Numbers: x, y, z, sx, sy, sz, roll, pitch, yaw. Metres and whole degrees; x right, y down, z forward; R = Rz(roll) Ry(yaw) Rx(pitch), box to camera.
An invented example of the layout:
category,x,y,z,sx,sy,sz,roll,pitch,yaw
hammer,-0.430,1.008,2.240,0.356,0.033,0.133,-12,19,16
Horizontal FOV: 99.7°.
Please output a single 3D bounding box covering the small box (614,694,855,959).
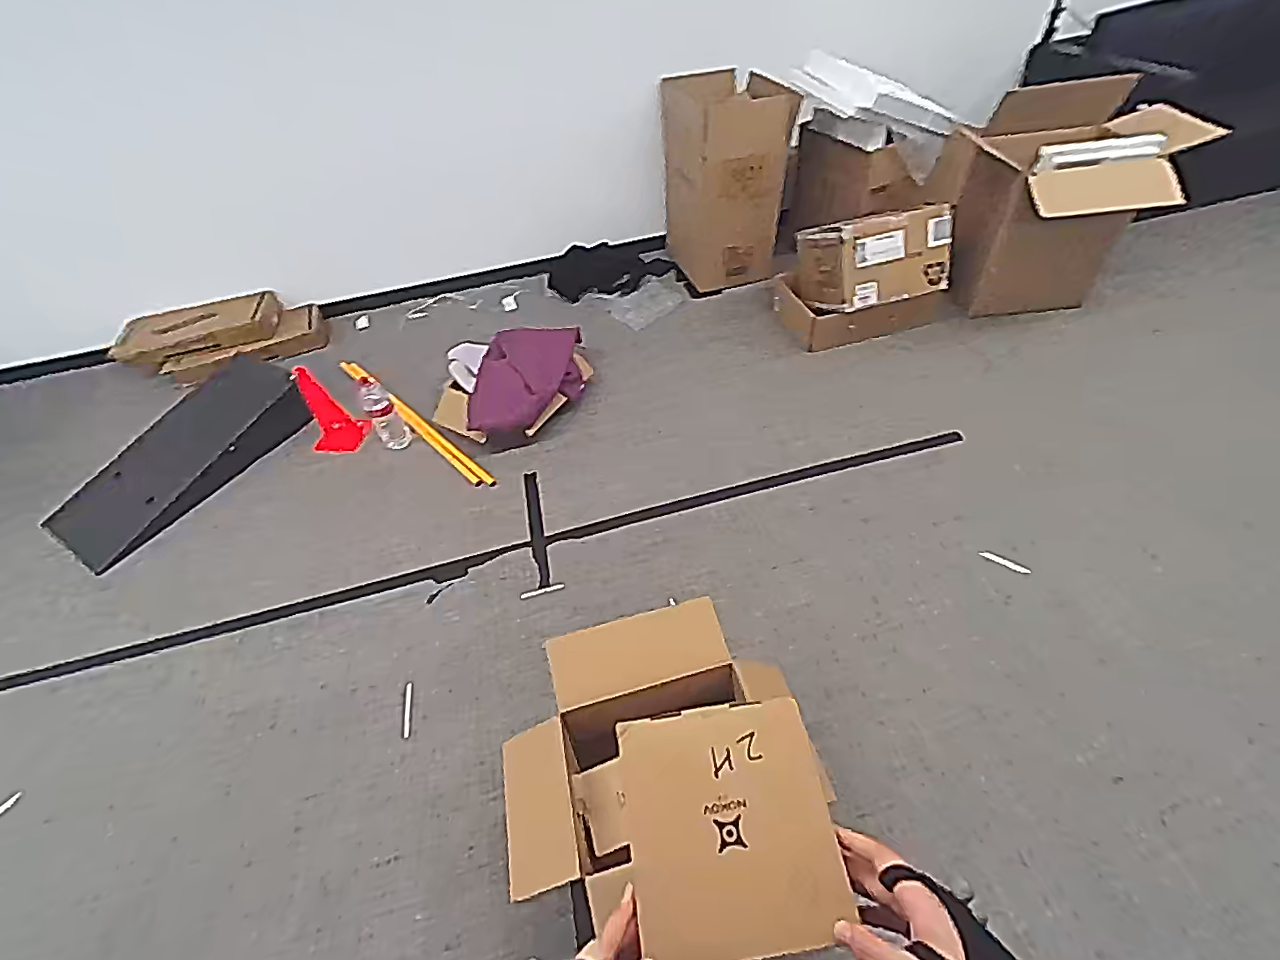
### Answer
category,x,y,z,sx,sy,sz,roll,pitch,yaw
small box,0.072,0.321,0.505,0.168,0.176,0.179,-8,54,-3
